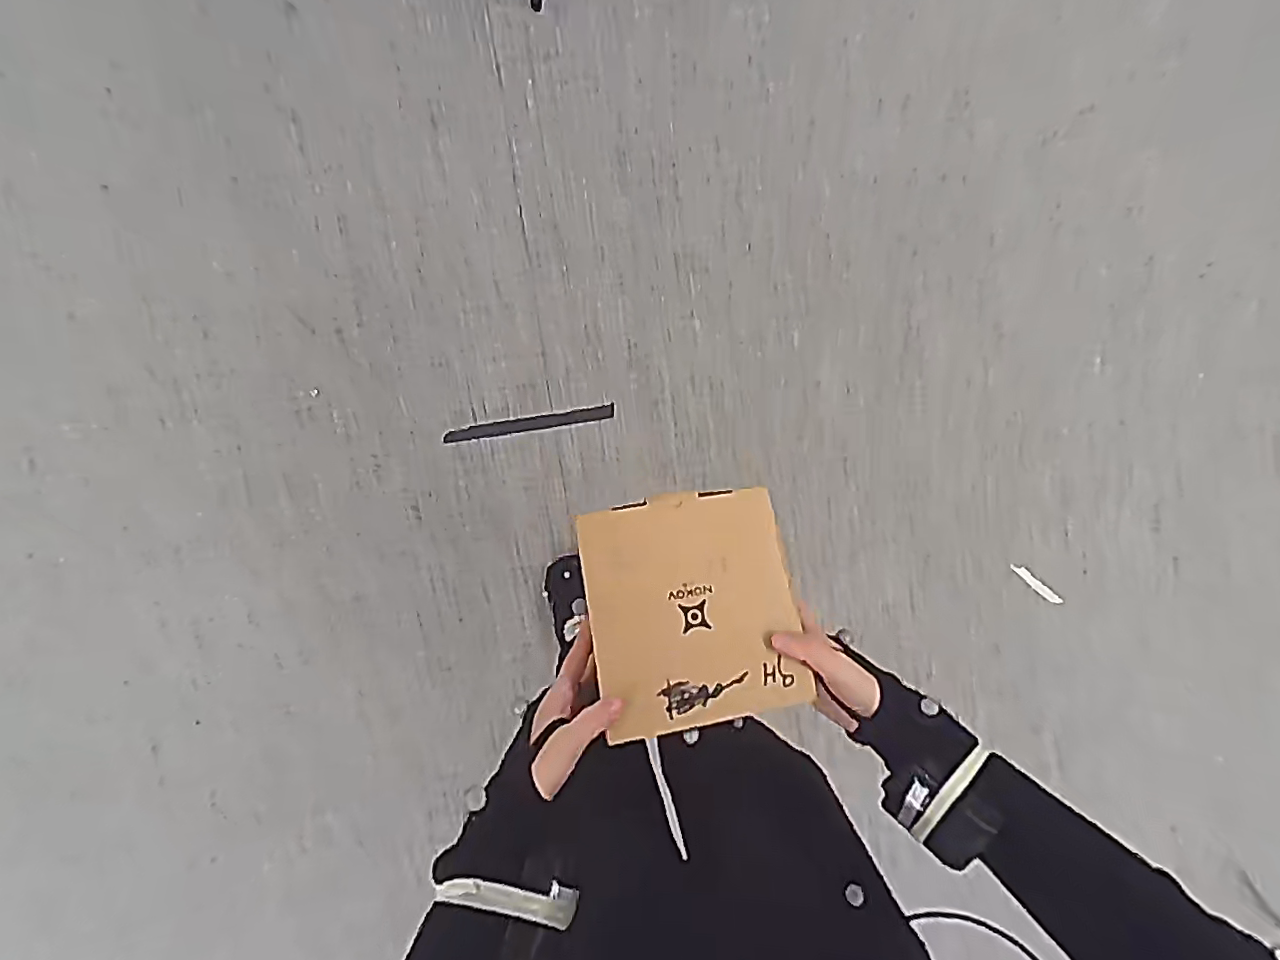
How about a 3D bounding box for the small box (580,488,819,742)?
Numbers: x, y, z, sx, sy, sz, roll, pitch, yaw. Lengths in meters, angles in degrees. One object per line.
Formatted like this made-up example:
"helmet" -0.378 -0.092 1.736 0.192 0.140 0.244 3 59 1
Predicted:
"small box" 0.036 0.122 0.501 0.168 0.176 0.179 -9 75 -8
